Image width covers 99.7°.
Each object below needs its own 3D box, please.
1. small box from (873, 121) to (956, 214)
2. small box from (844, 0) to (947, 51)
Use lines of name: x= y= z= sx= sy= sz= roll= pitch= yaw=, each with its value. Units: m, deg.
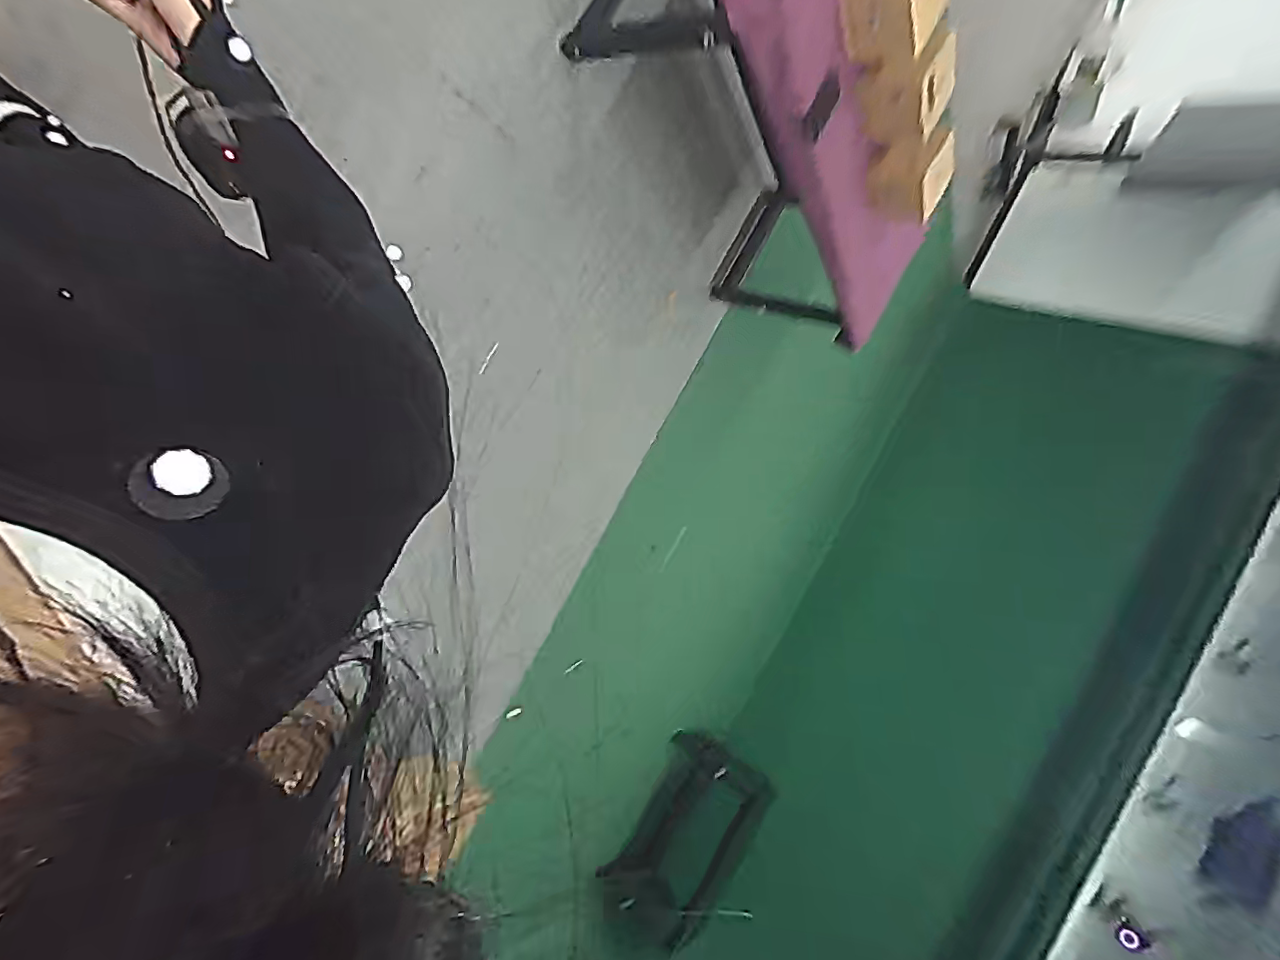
small box: x=0.805 y=-0.920 z=1.597 sx=0.179 sy=0.176 sz=0.168 roll=-58 pitch=145 yaw=-6
small box: x=0.566 y=-1.094 z=1.193 sx=0.168 sy=0.176 sz=0.179 roll=30 pitch=88 yaw=-54
